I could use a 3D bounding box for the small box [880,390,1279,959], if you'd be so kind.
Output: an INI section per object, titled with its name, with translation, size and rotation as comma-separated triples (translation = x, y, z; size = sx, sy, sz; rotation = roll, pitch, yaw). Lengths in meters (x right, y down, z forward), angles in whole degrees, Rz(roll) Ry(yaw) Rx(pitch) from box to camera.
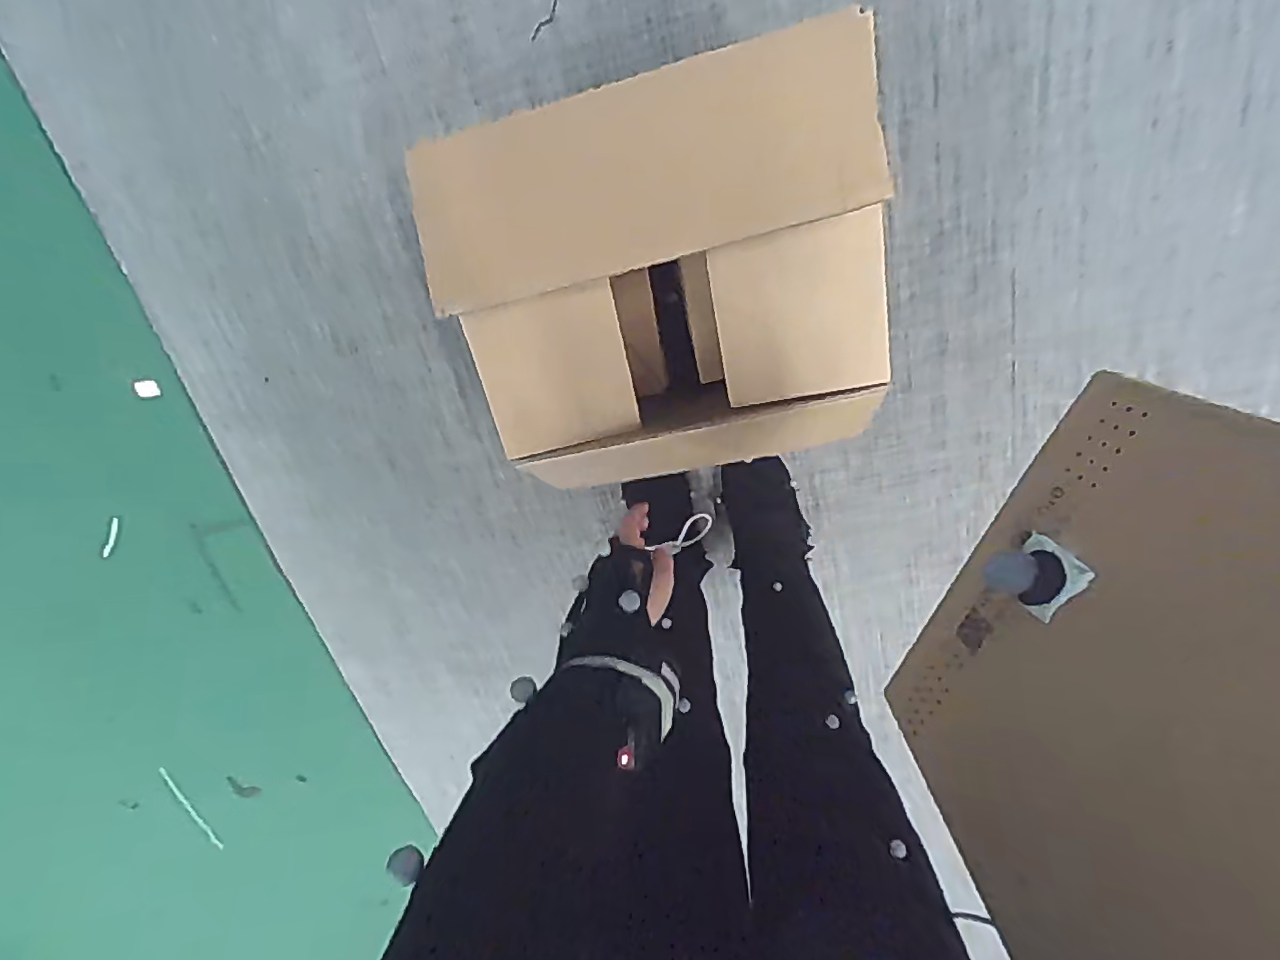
[small box]
translation = 0.213, 0.084, 0.167
size = 0.179, 0.176, 0.168
rotation = 16, 112, -3
